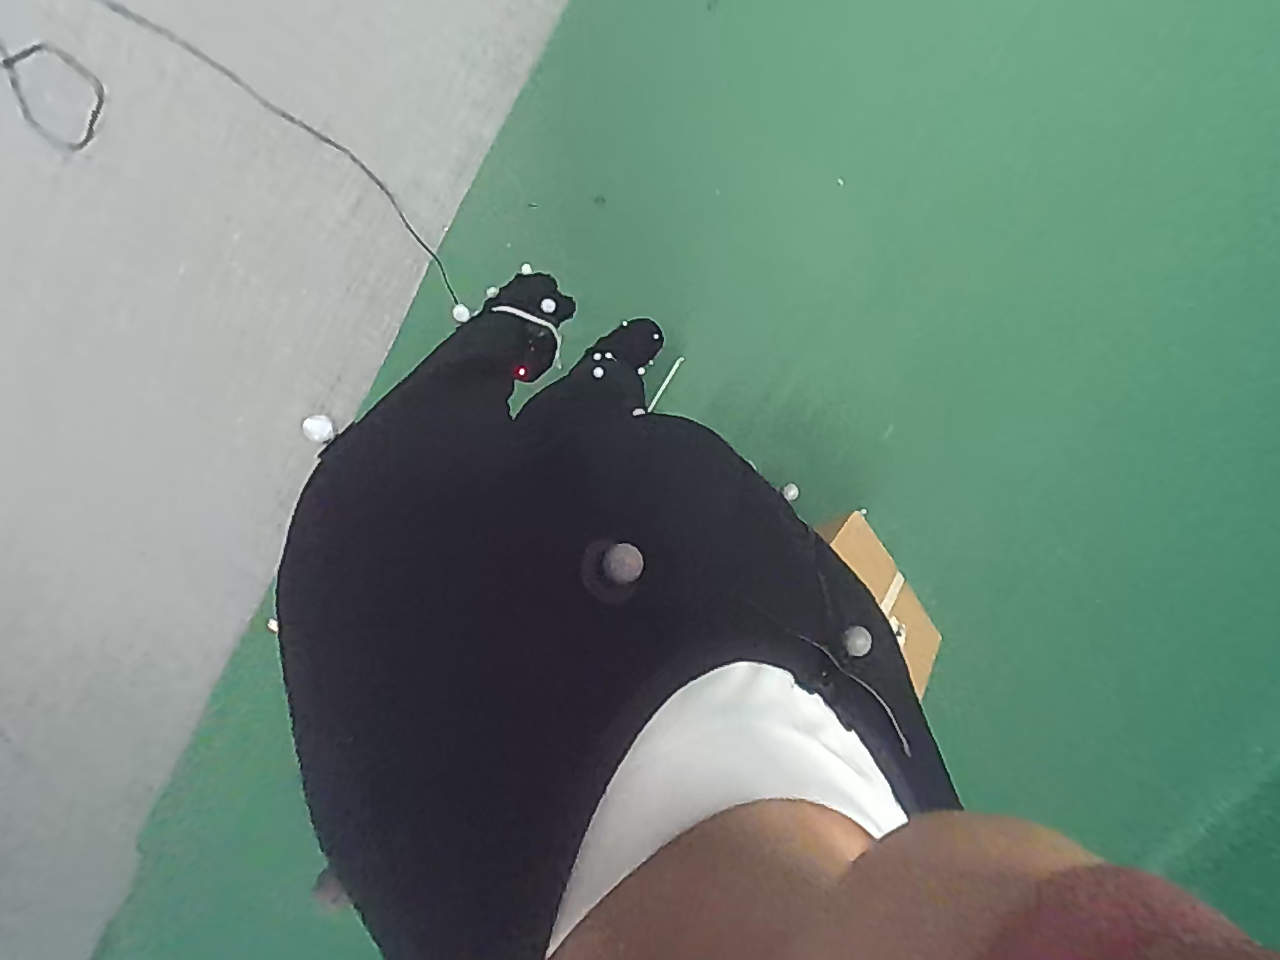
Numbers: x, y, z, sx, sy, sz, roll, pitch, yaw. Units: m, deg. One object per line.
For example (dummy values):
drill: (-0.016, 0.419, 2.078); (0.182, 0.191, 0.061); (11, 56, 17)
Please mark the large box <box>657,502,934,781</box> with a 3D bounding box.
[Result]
large box: (0.308, 0.307, 1.055); (0.320, 0.408, 0.320); (-33, 90, 44)
